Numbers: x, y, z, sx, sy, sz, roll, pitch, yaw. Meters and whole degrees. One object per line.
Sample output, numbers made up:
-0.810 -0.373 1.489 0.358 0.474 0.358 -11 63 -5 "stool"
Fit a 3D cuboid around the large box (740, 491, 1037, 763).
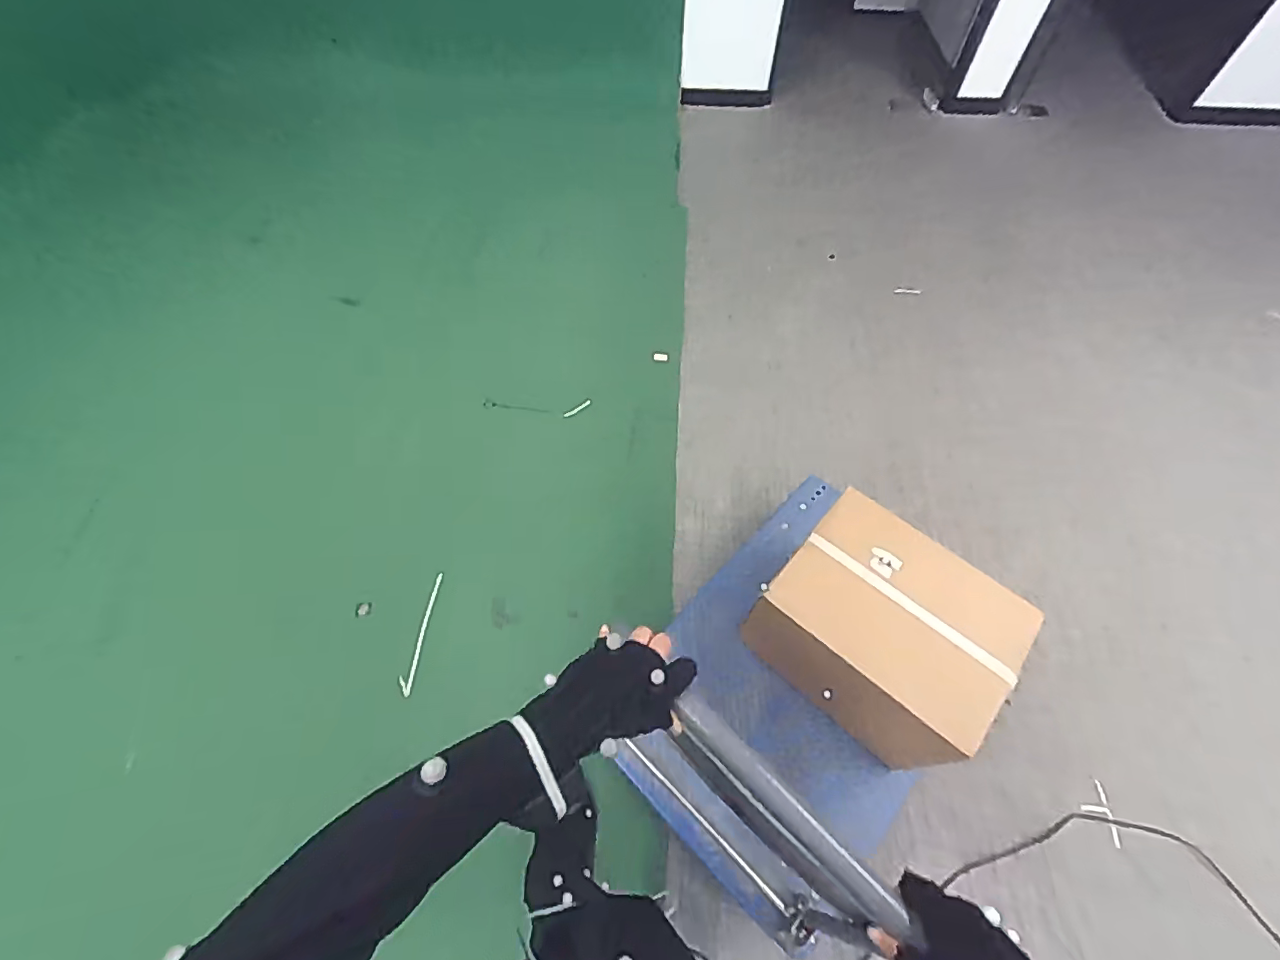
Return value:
0.472 0.304 1.109 0.408 0.320 0.320 36 65 21 "large box"
